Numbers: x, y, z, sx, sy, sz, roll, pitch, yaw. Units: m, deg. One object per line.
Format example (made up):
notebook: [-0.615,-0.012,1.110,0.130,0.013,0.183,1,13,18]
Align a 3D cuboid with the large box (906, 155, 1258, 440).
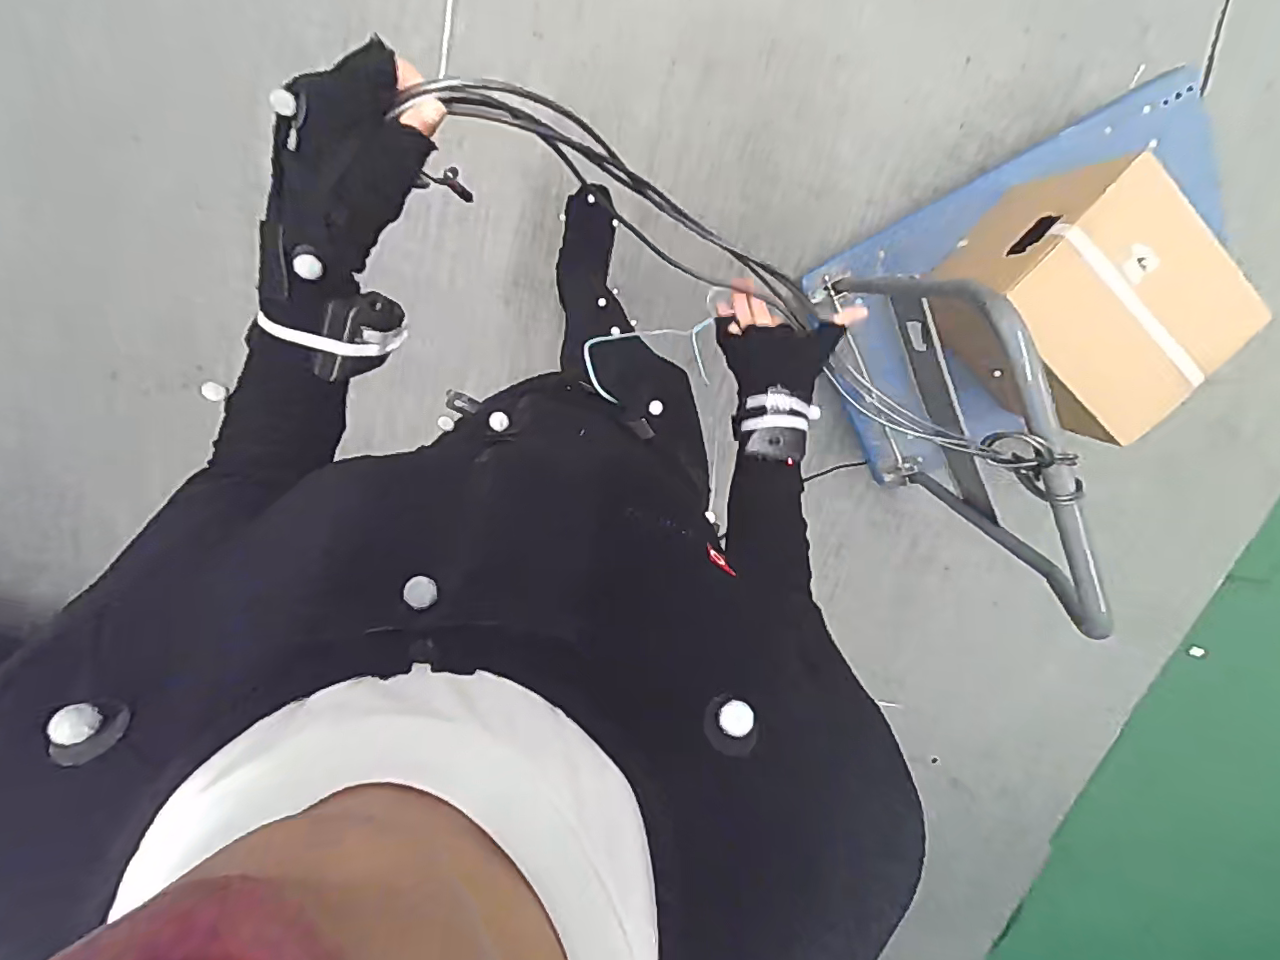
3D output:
large box: [0.845,-0.349,1.089,0.408,0.320,0.320,38,104,-13]
